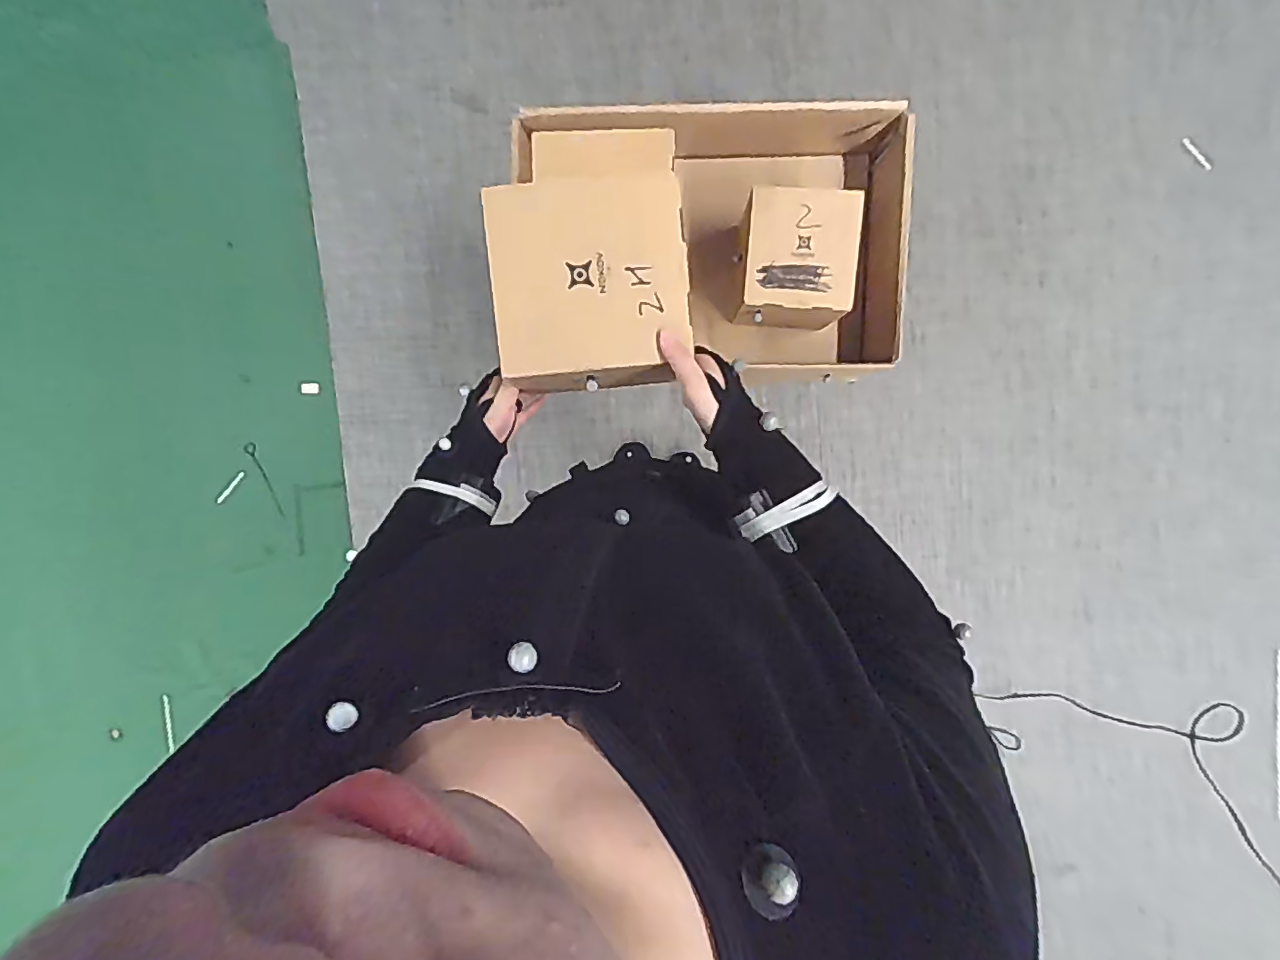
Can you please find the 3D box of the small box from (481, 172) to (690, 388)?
[{"bbox_3d":[-0.049,-0.189,0.557,0.179,0.176,0.168,-5,96,-3],"label":"small box"}]

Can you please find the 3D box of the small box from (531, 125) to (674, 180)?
[{"bbox_3d":[-0.044,-0.354,0.740,0.179,0.176,0.168,0,96,1],"label":"small box"}]
